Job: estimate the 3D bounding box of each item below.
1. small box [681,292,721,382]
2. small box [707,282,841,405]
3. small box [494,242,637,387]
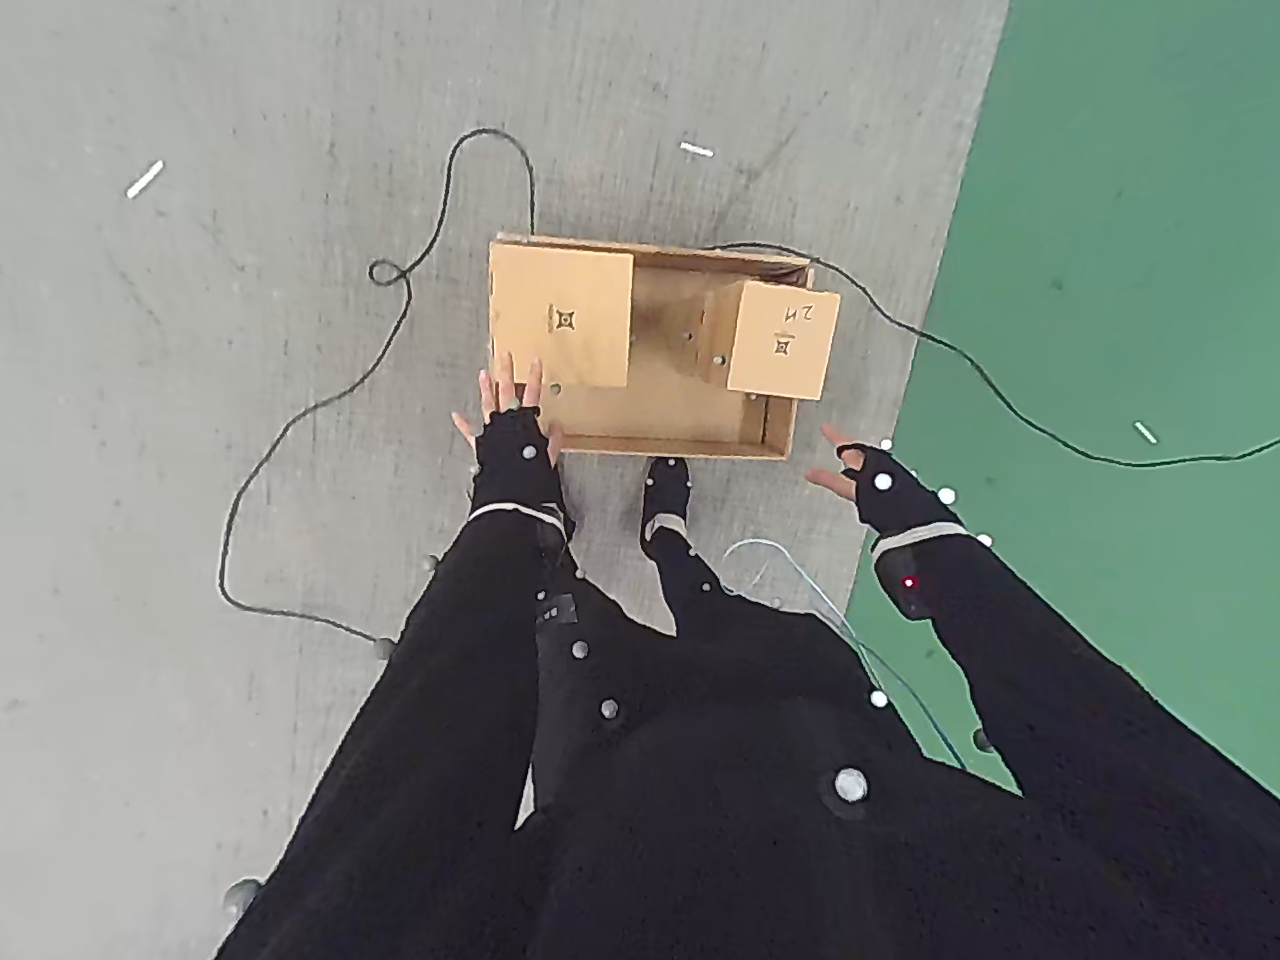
[{"bbox_3d":[0.190,-0.280,1.113,0.179,0.176,0.168,7,103,-8],"label":"small box"},{"bbox_3d":[0.223,-0.238,0.956,0.168,0.176,0.179,6,102,-9],"label":"small box"},{"bbox_3d":[-0.103,-0.226,0.754,0.179,0.176,0.168,2,105,-6],"label":"small box"}]
